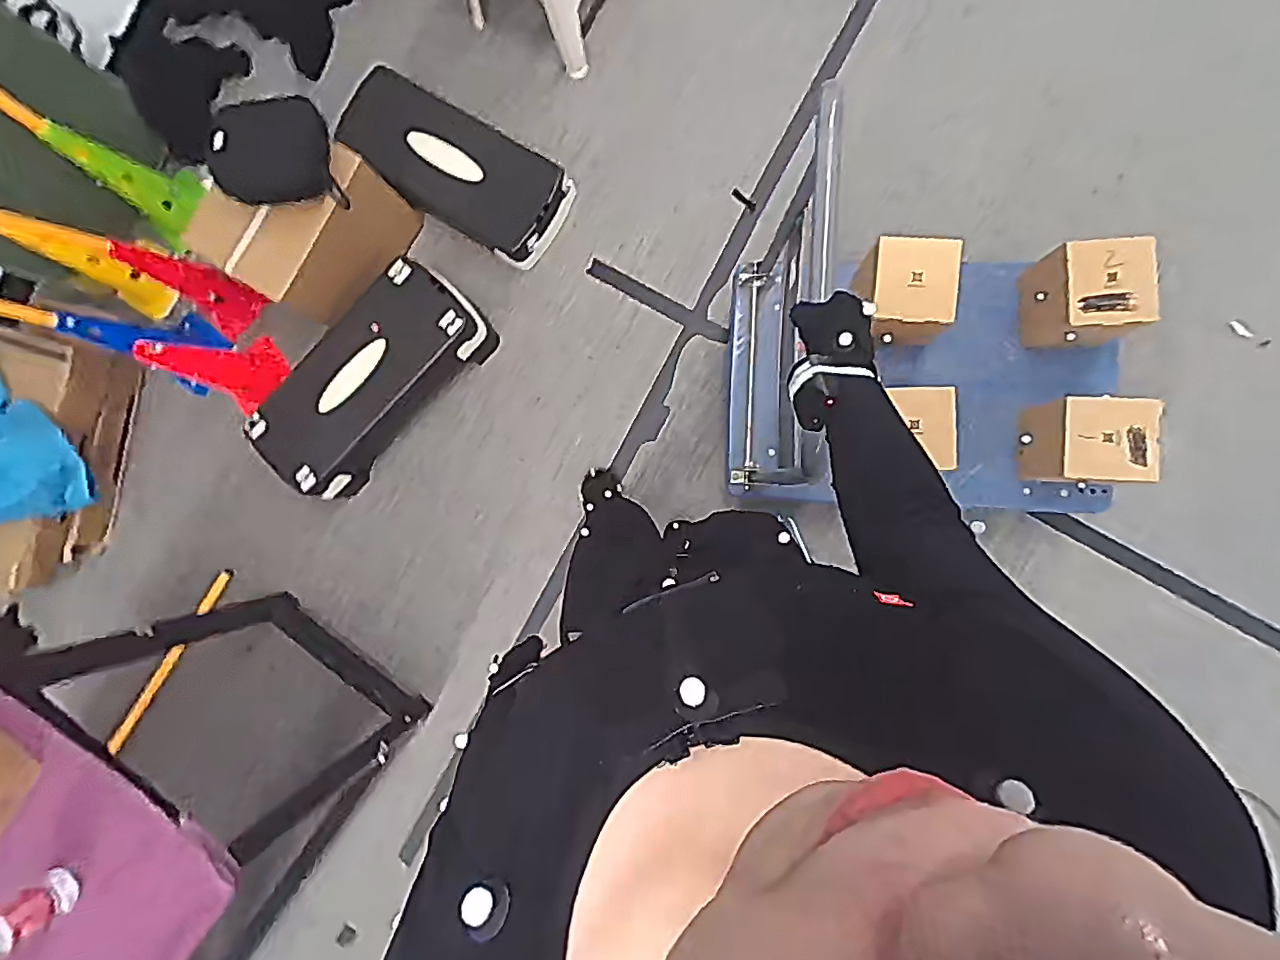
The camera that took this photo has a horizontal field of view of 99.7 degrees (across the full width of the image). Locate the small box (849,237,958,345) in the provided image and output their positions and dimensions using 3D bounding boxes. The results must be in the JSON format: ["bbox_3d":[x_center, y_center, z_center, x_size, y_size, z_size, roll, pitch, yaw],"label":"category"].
[{"bbox_3d":[0.575,-0.413,1.202,0.168,0.176,0.179,5,90,5],"label":"small box"}]

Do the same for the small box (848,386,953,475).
[{"bbox_3d":[0.565,-0.103,1.194,0.168,0.176,0.179,0,88,6],"label":"small box"}]

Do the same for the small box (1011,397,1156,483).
[{"bbox_3d":[0.939,-0.080,1.158,0.179,0.176,0.168,3,89,7],"label":"small box"}]
